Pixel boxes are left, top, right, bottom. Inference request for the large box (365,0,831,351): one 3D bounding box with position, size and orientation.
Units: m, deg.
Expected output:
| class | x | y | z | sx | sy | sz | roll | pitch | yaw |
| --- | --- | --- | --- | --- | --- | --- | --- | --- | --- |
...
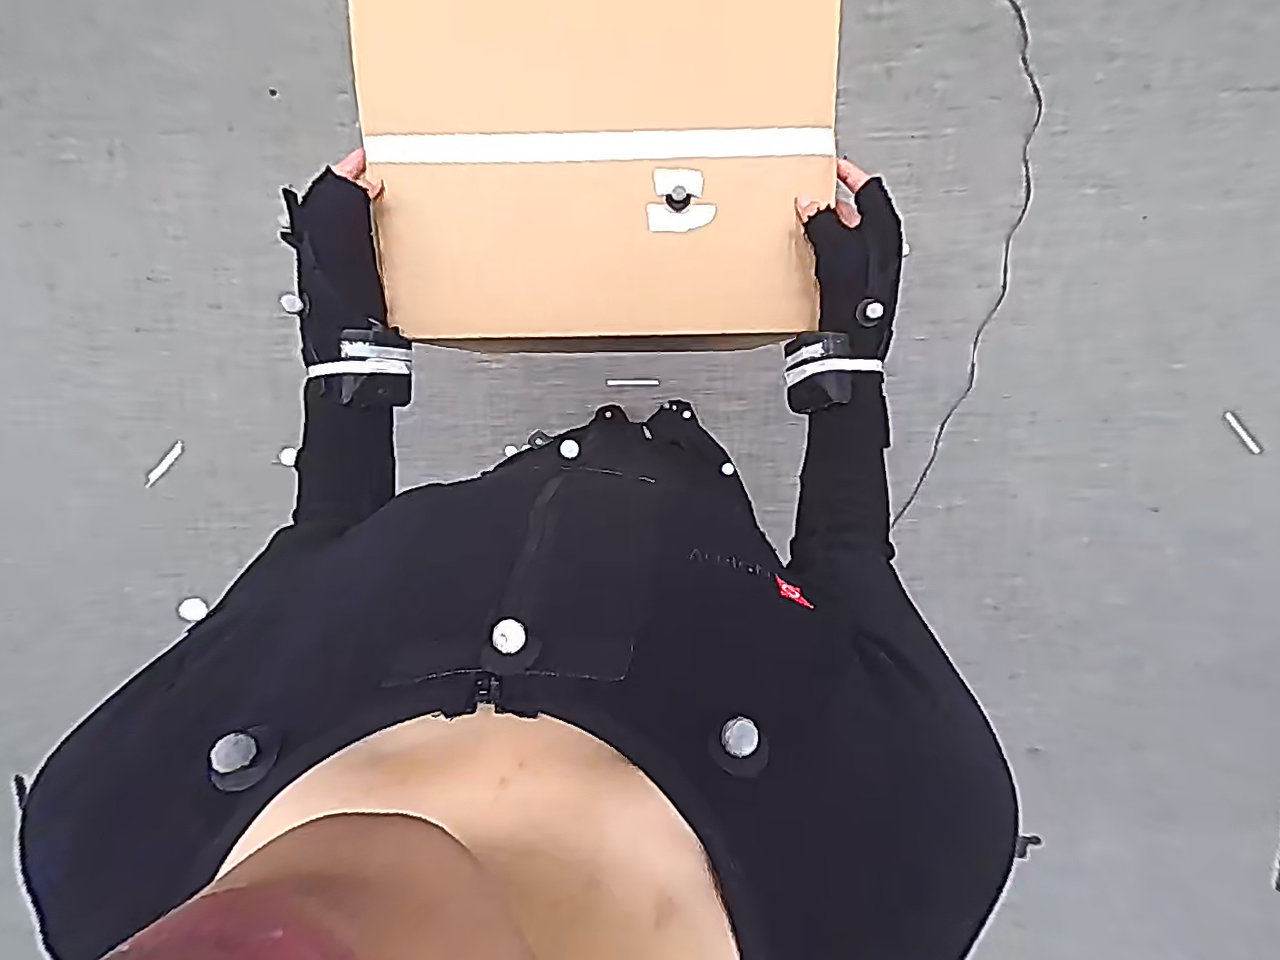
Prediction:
| class | x | y | z | sx | sy | sz | roll | pitch | yaw |
| --- | --- | --- | --- | --- | --- | --- | --- | --- | --- |
| large box | -0.036 | -0.322 | 0.626 | 0.408 | 0.320 | 0.320 | -1 | 101 | -1 |
